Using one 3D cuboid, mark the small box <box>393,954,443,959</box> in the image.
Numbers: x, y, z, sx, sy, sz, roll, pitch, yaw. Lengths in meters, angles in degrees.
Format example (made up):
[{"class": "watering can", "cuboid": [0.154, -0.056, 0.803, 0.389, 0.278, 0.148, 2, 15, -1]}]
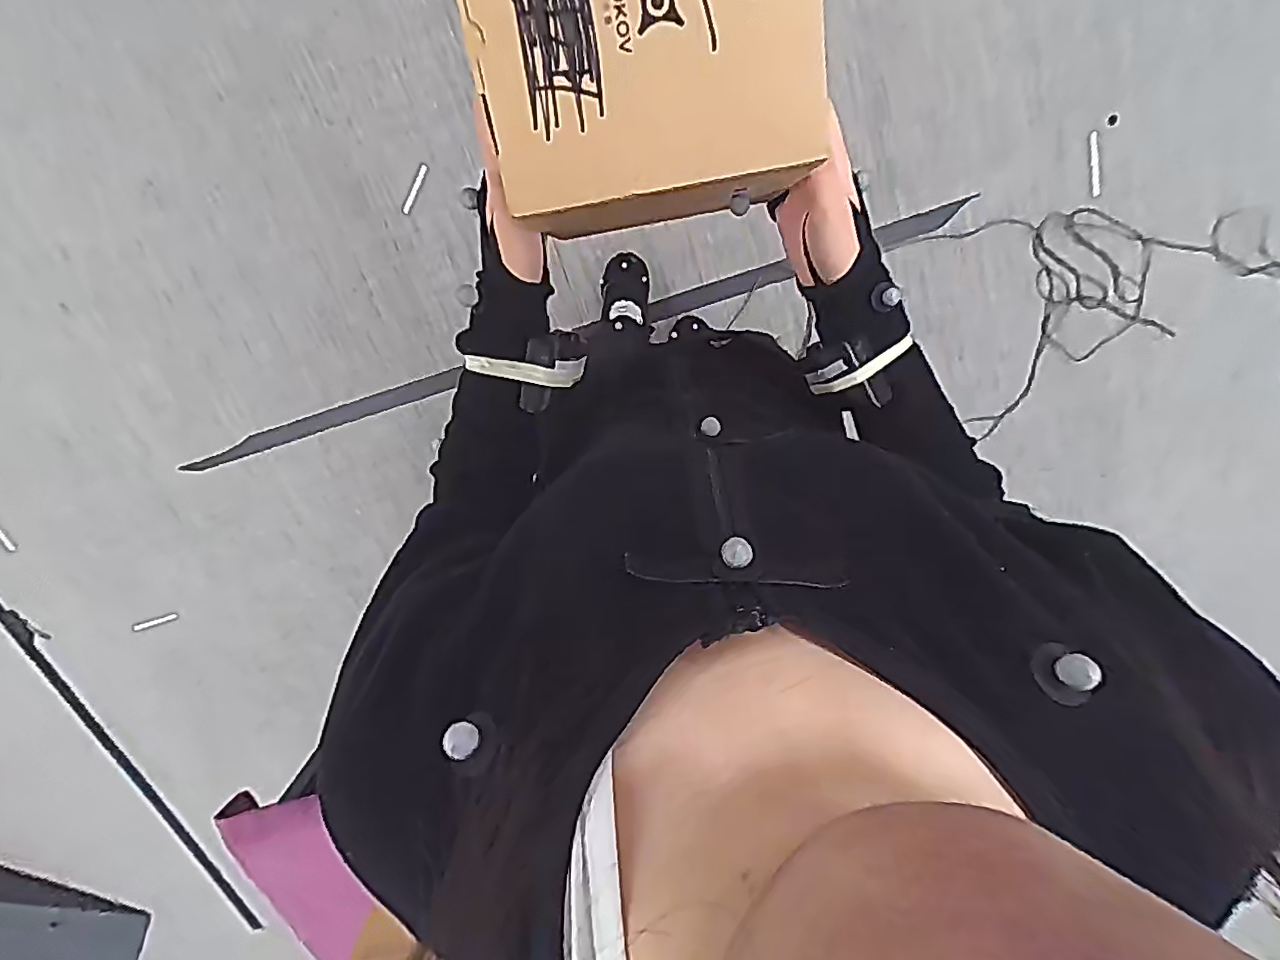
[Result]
[{"class": "small box", "cuboid": [-0.357, 0.840, 0.780, 0.168, 0.176, 0.179, -13, 108, 4]}]
